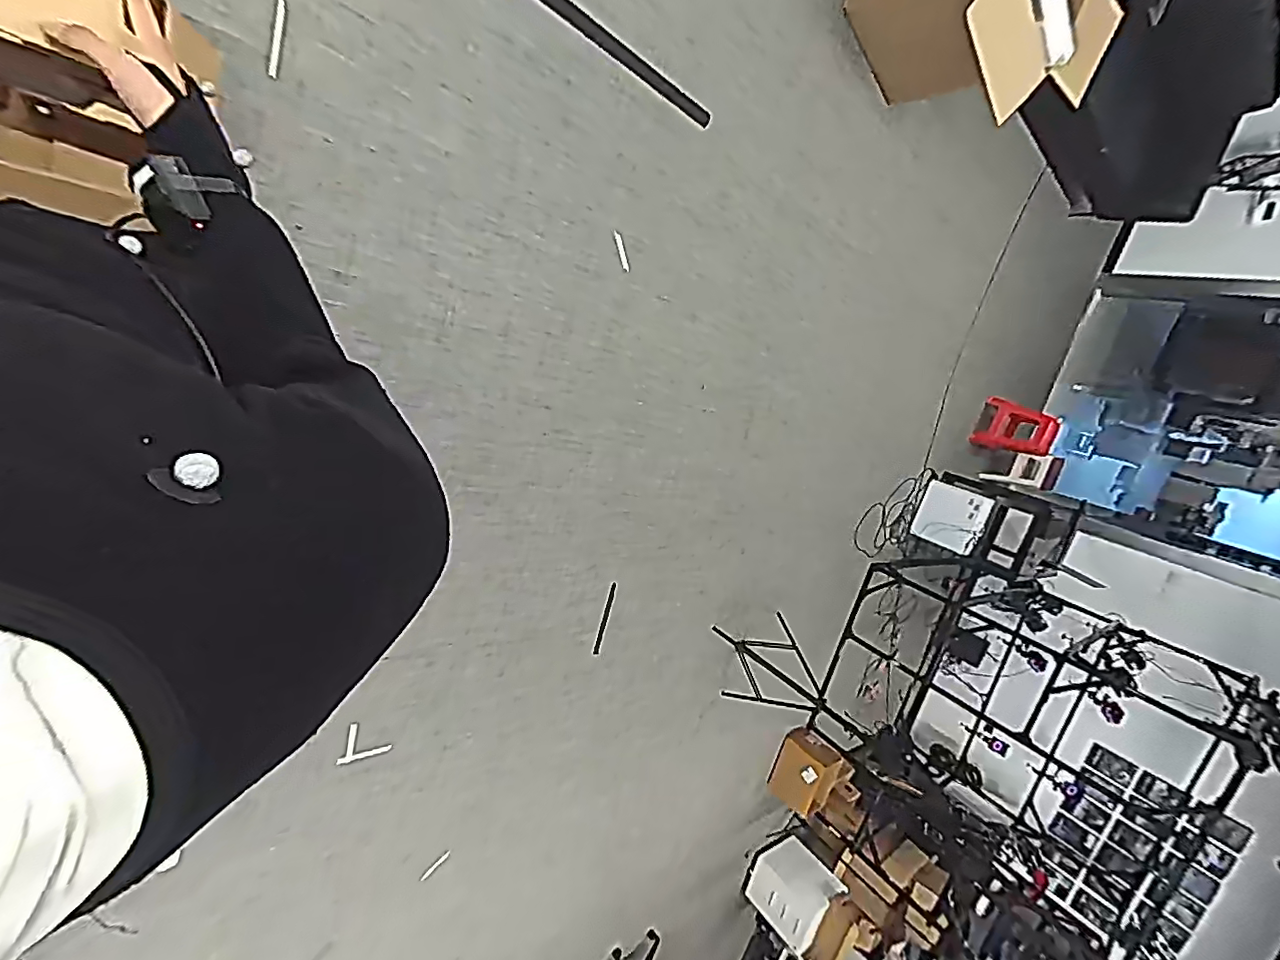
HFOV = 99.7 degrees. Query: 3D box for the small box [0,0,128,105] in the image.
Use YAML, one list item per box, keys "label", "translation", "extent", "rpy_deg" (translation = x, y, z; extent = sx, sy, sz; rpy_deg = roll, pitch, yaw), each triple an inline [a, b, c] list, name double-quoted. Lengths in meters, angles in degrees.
- label: "small box"
  translation: [-0.534, -0.436, 0.424]
  extent: [0.168, 0.176, 0.179]
  rpy_deg: [-6, 109, -54]
